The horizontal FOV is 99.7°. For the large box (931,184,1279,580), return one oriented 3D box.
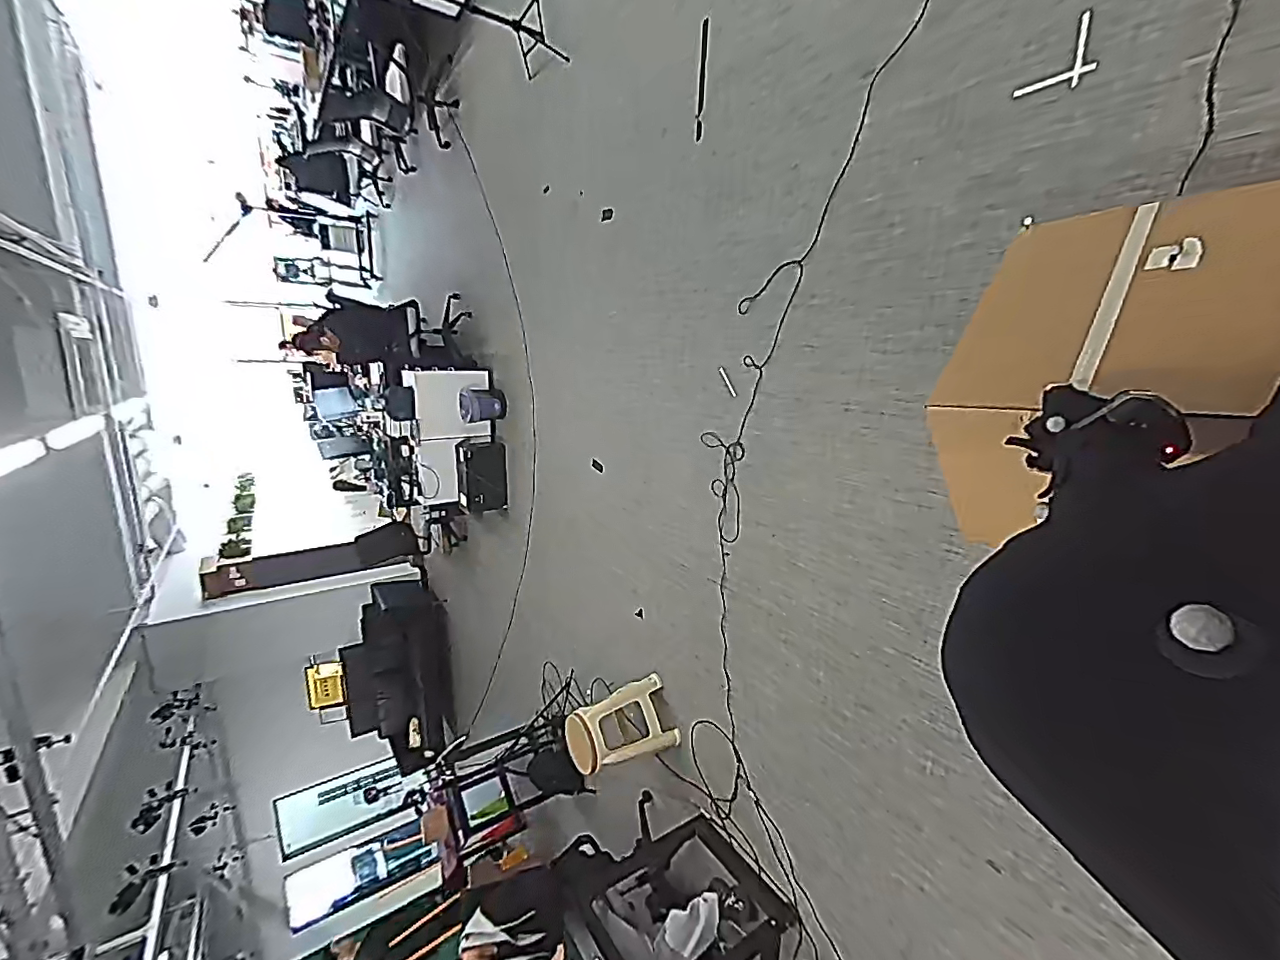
[{"bbox_3d":[0.677,-0.131,0.768,0.320,0.408,0.320,13,149,49],"label":"large box"}]
